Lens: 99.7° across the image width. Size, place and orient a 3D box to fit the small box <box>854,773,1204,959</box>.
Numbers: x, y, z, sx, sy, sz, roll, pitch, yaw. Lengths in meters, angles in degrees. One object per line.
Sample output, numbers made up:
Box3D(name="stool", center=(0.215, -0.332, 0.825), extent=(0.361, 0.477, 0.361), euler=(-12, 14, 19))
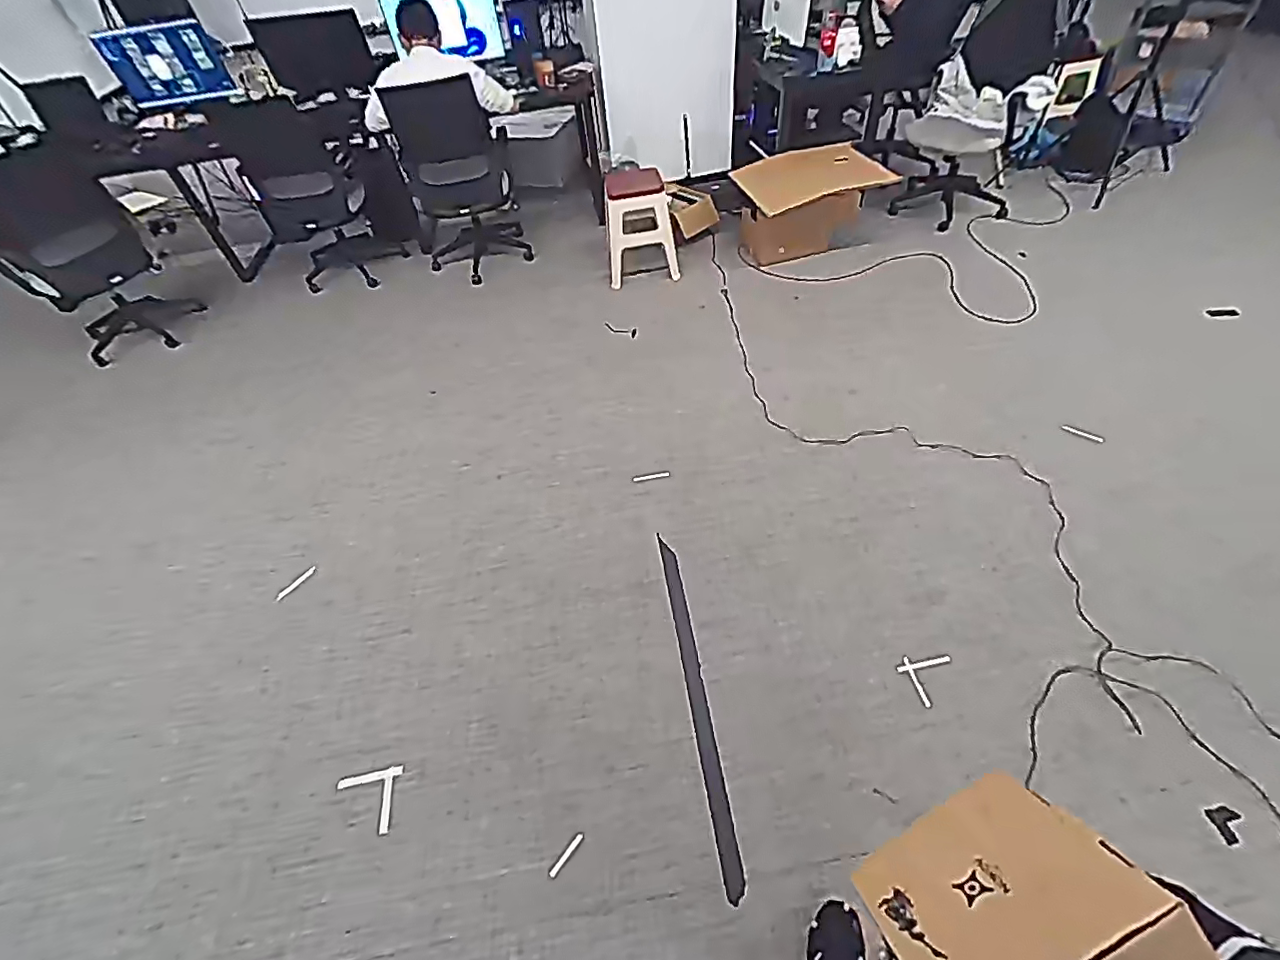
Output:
Box3D(name="small box", center=(0.317, 0.391, 0.434), extent=(0.179, 0.168, 0.176), euler=(-31, 90, -3))
